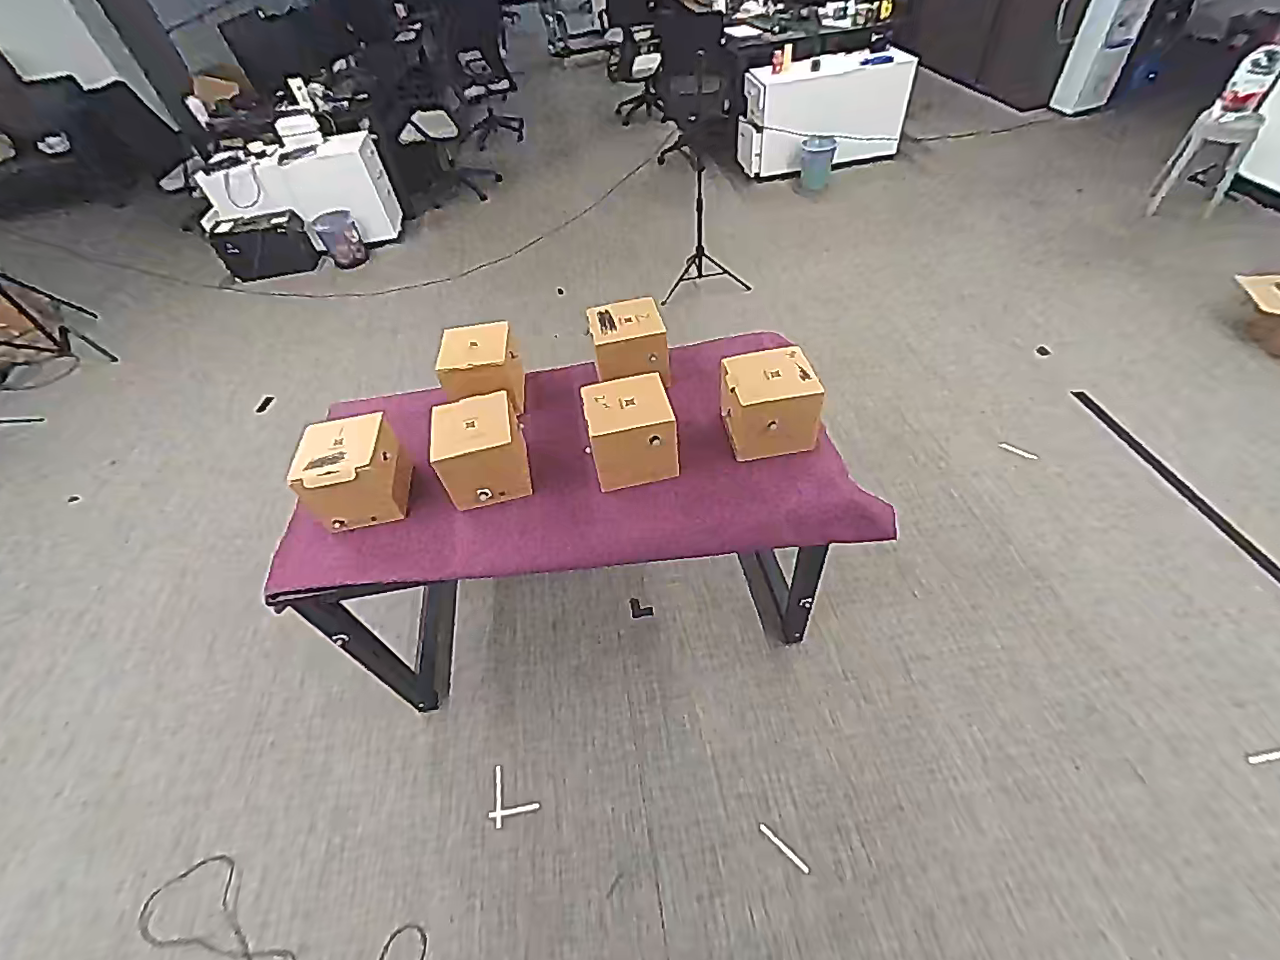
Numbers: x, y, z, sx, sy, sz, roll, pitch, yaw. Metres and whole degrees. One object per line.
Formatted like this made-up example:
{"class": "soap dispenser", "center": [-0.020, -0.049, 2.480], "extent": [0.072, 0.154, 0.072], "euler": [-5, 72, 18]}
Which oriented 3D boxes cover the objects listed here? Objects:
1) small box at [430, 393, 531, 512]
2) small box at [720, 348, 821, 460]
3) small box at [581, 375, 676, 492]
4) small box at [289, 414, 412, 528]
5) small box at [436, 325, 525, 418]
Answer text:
{"class": "small box", "center": [-0.345, -0.059, 1.184], "extent": [0.168, 0.176, 0.179], "euler": [-14, 48, -4]}
{"class": "small box", "center": [0.280, -0.162, 1.191], "extent": [0.179, 0.176, 0.168], "euler": [-10, 49, 0]}
{"class": "small box", "center": [-0.022, -0.099, 1.175], "extent": [0.179, 0.176, 0.168], "euler": [-12, 47, -3]}
{"class": "small box", "center": [-0.615, -0.012, 1.175], "extent": [0.168, 0.176, 0.179], "euler": [-11, 47, -3]}
{"class": "small box", "center": [-0.394, -0.266, 1.369], "extent": [0.168, 0.176, 0.179], "euler": [-8, 49, 0]}
